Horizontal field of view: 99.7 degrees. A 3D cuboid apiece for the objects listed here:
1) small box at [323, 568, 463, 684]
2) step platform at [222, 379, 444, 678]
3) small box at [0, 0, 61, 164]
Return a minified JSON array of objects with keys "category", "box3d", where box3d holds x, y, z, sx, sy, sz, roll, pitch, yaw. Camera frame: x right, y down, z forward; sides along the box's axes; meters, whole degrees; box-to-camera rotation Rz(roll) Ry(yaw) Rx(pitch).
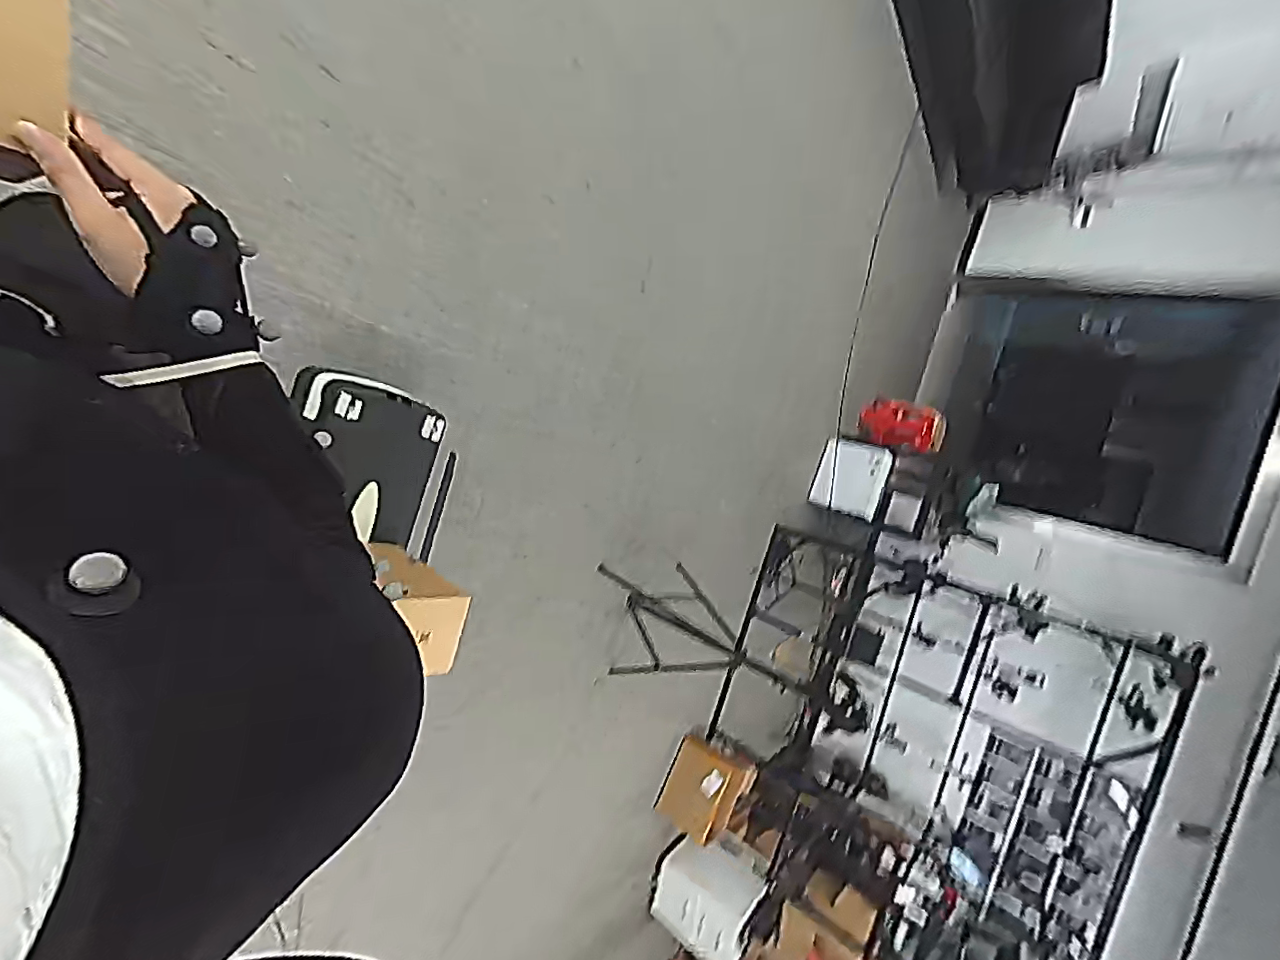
[{"category":"small box","box3d":[-0.495,0.281,1.083,0.179,0.176,0.168,13,94,-53]},{"category":"step platform","box3d":[-0.717,0.118,1.293,0.286,0.204,0.684,17,90,-54]},{"category":"small box","box3d":[-0.433,-0.290,0.276,0.168,0.176,0.179,-4,109,-55]}]
